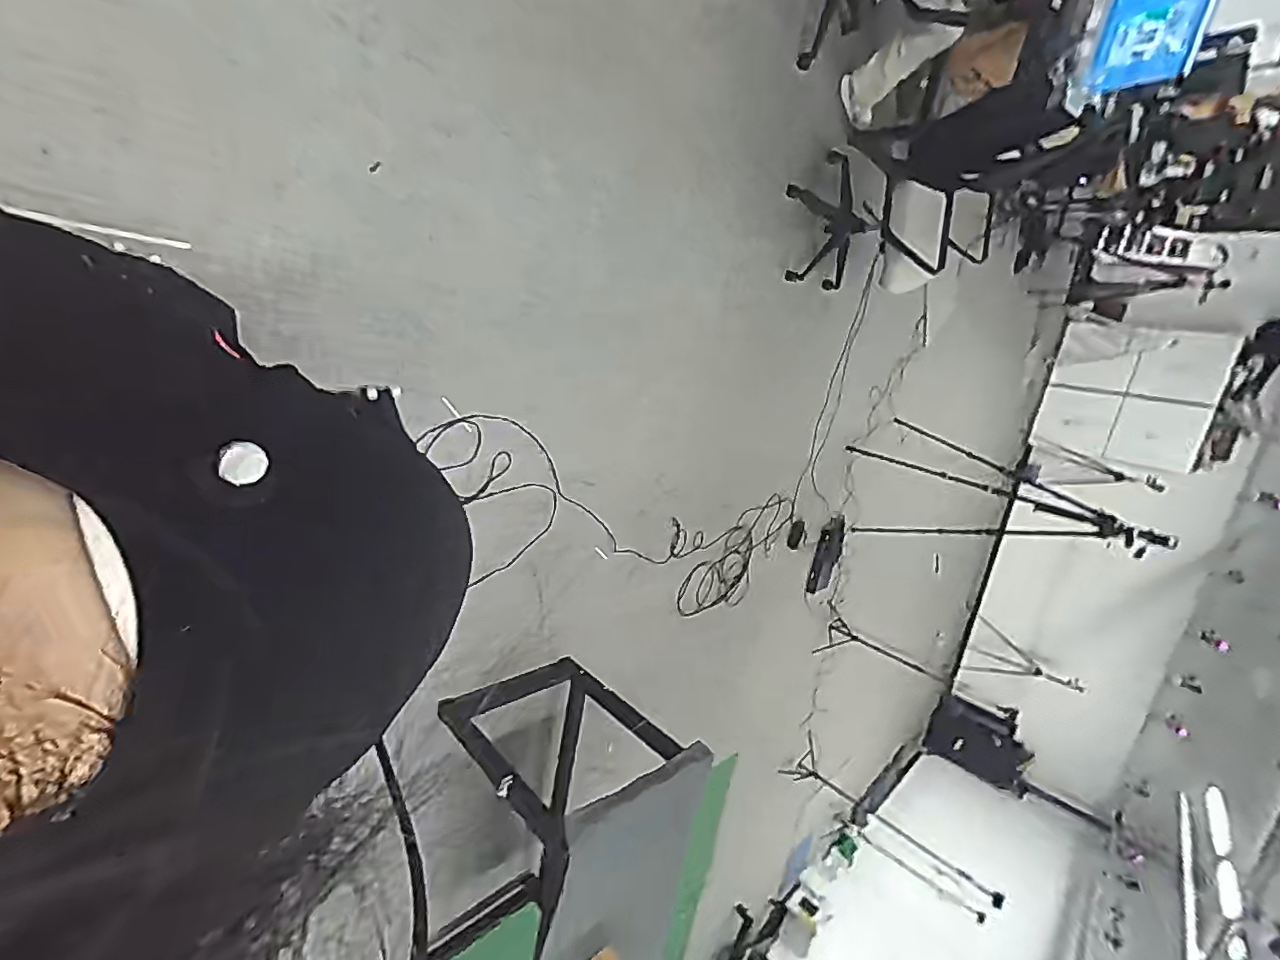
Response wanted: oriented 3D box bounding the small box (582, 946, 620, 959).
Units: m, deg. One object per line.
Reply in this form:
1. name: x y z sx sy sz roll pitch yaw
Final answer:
1. small box: -0.122 1.510 1.562 0.168 0.176 0.179 0 105 -48
